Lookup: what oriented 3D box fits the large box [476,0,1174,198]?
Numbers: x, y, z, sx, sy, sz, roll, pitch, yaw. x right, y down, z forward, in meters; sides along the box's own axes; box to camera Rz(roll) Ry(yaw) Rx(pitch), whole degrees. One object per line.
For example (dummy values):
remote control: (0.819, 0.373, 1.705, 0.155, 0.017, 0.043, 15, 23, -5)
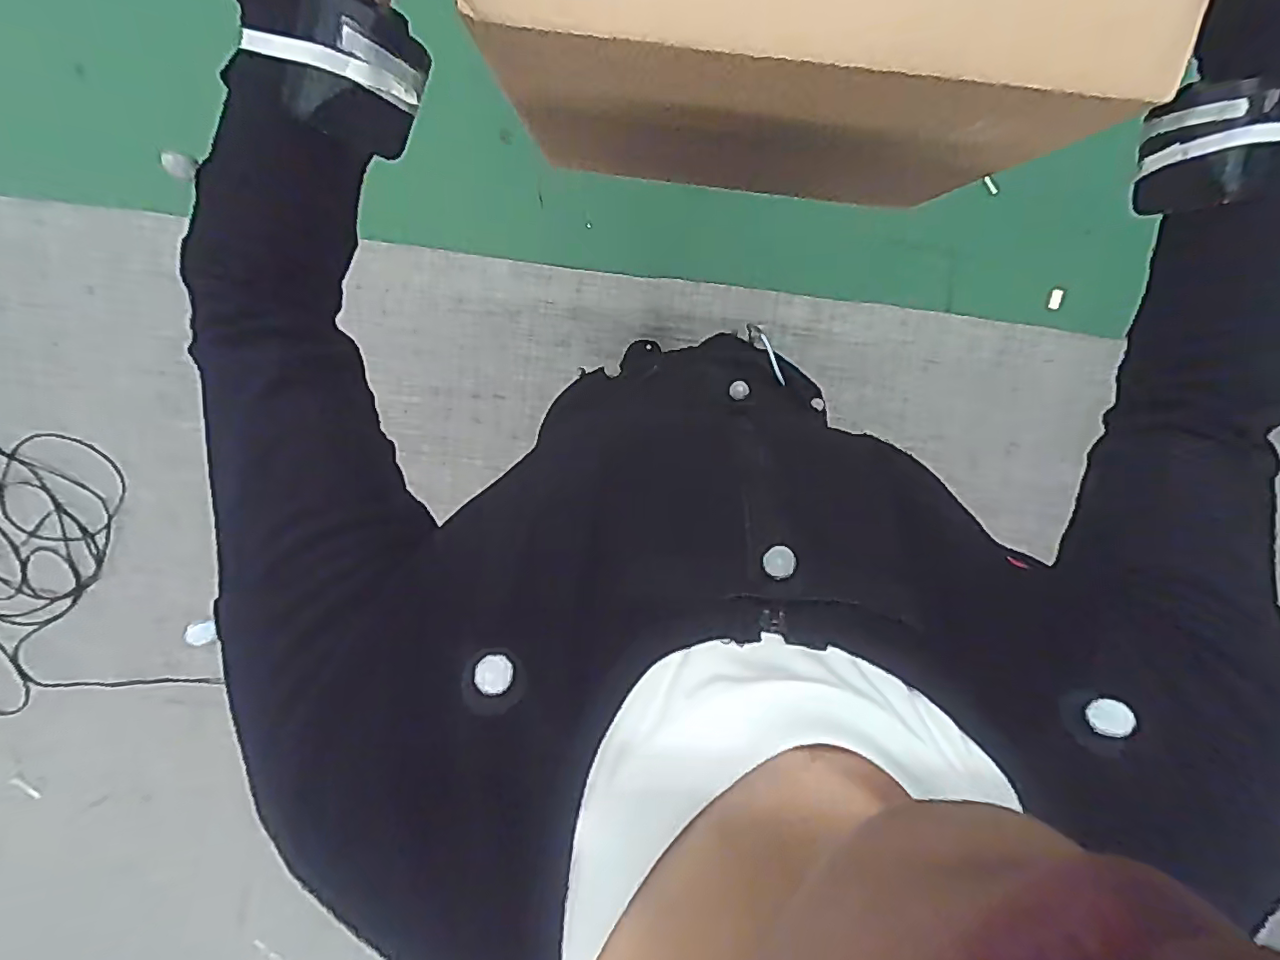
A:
large box: (0.113, -0.431, 0.414, 0.408, 0.320, 0.320, 5, 107, -1)
